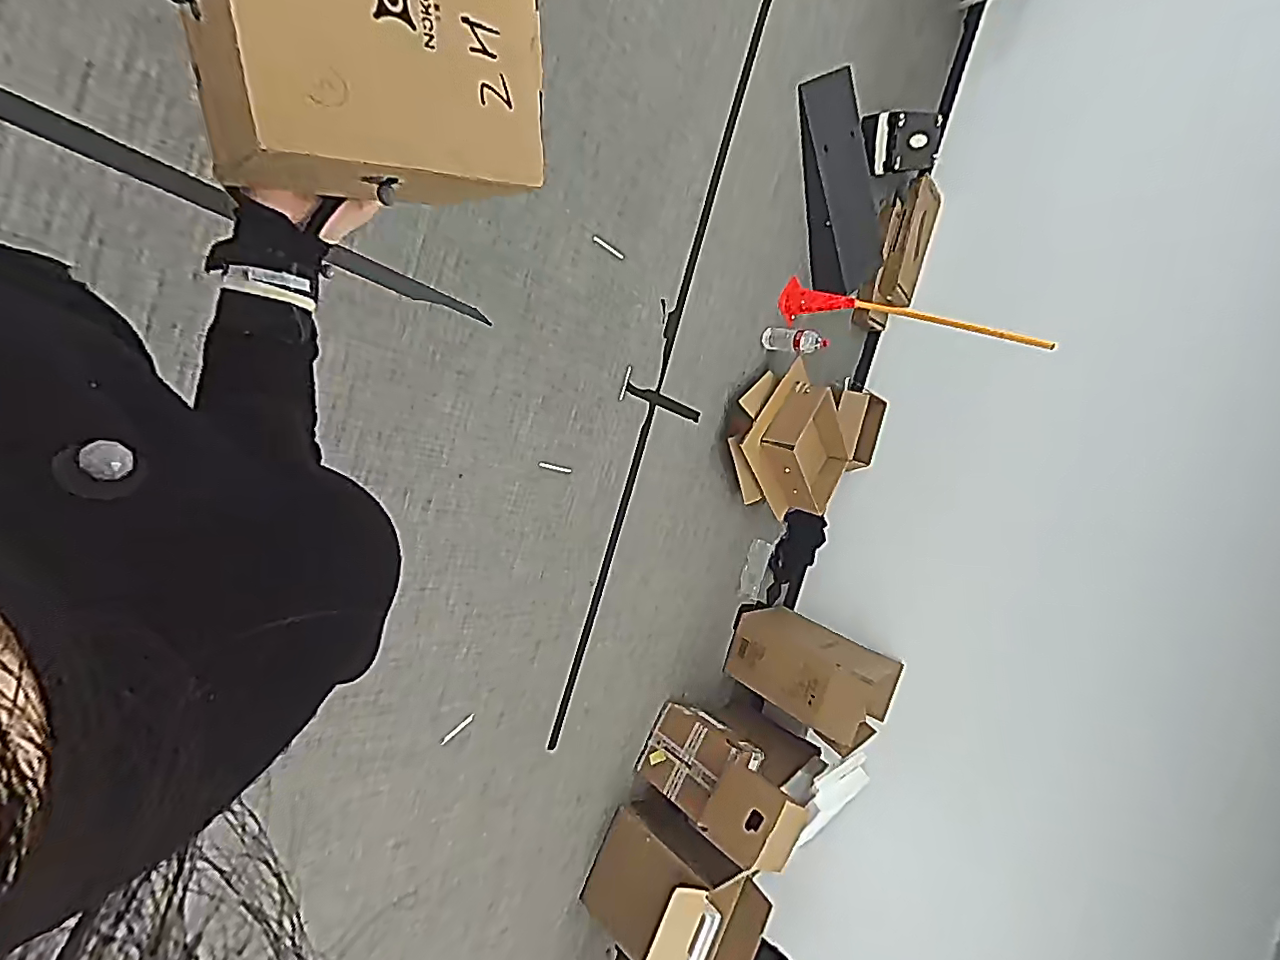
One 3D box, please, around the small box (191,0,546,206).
[{"bbox_3d":[-0.184,-0.288,0.365,0.179,0.176,0.168,-17,117,-39],"label":"small box"}]
